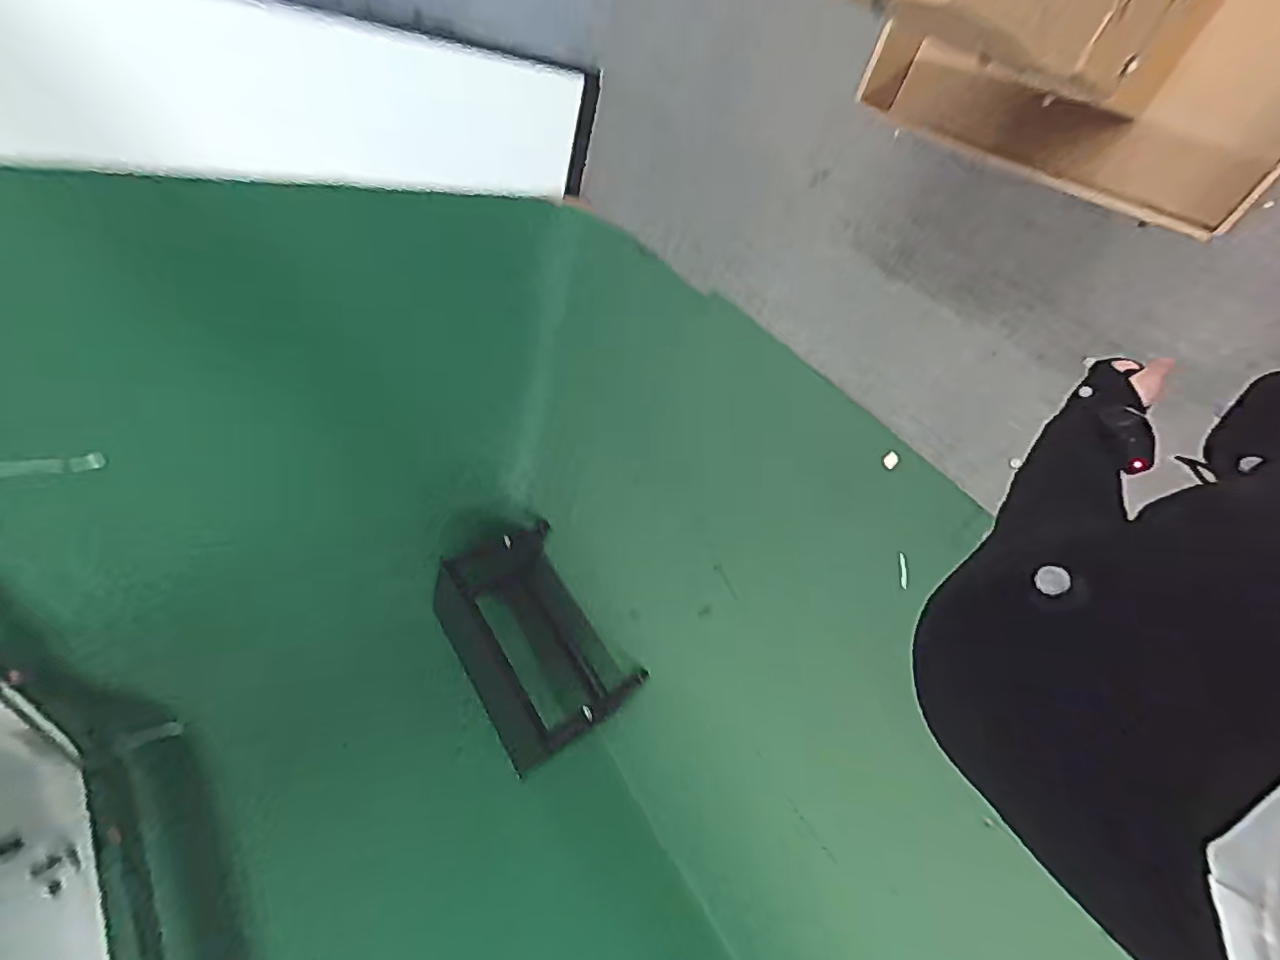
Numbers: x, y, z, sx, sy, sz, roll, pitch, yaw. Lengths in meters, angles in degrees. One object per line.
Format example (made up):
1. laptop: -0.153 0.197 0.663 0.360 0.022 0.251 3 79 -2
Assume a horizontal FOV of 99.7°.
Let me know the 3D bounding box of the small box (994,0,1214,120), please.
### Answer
1. small box: 0.669 -0.648 0.779 0.168 0.176 0.179 47 136 31

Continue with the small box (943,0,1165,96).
1. small box: 0.541 -0.613 0.684 0.179 0.176 0.168 48 137 30

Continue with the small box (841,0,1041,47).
1. small box: 0.285 -0.528 0.495 0.179 0.176 0.168 46 137 31
